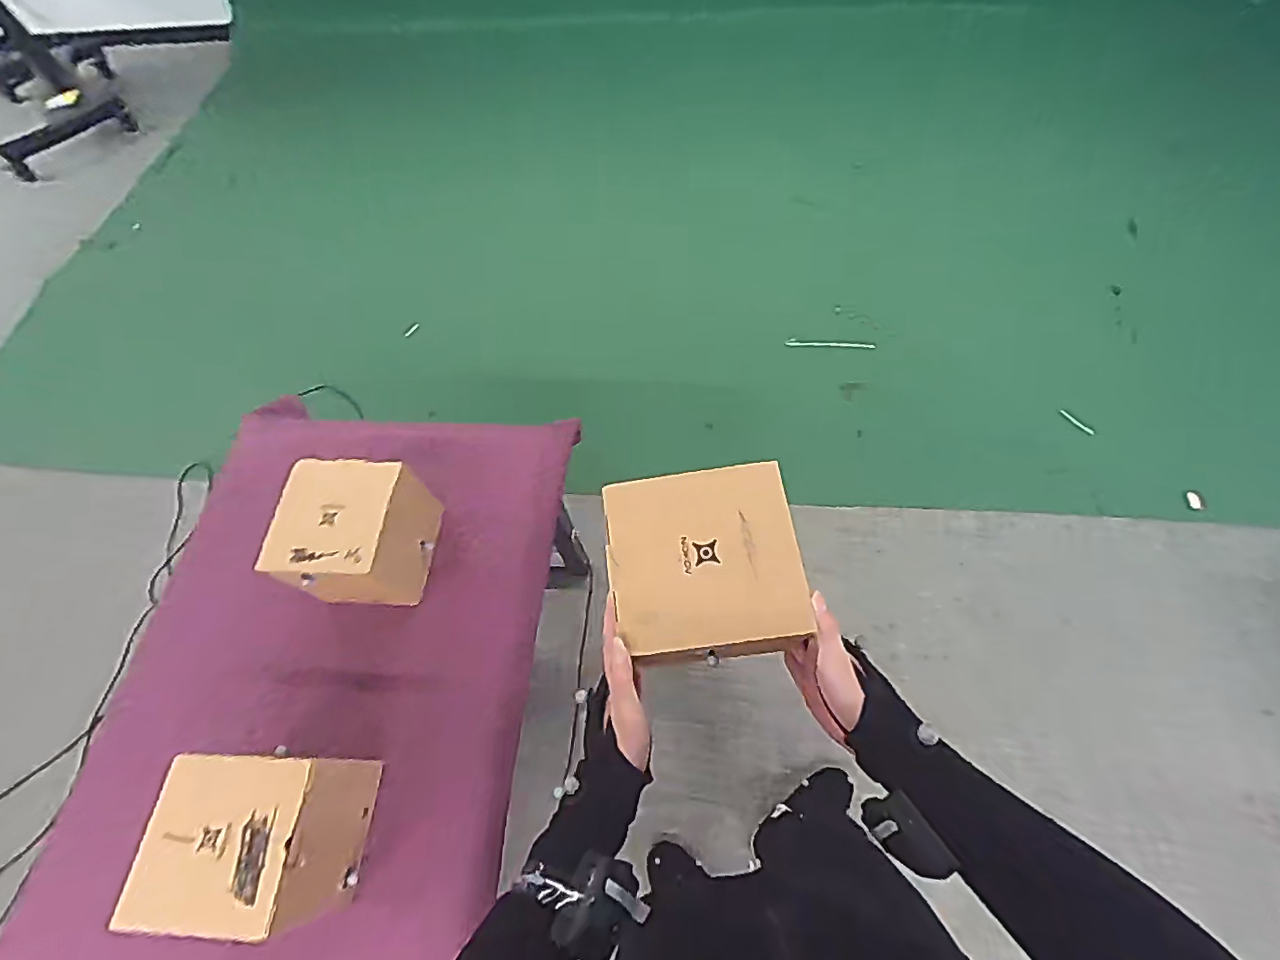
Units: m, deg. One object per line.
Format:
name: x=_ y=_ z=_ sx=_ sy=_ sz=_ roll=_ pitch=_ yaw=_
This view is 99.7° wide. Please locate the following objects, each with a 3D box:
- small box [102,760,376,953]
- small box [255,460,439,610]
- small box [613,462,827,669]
small box: x=-0.454 y=0.434 z=0.651 sx=0.179 sy=0.176 sz=0.168 roll=0 pitch=62 yaw=5
small box: x=-0.431 y=0.088 z=0.833 sx=0.168 sy=0.176 sz=0.179 roll=2 pitch=62 yaw=5
small box: x=0.074 y=0.099 z=0.564 sx=0.179 sy=0.176 sz=0.168 roll=-7 pitch=67 yaw=2
